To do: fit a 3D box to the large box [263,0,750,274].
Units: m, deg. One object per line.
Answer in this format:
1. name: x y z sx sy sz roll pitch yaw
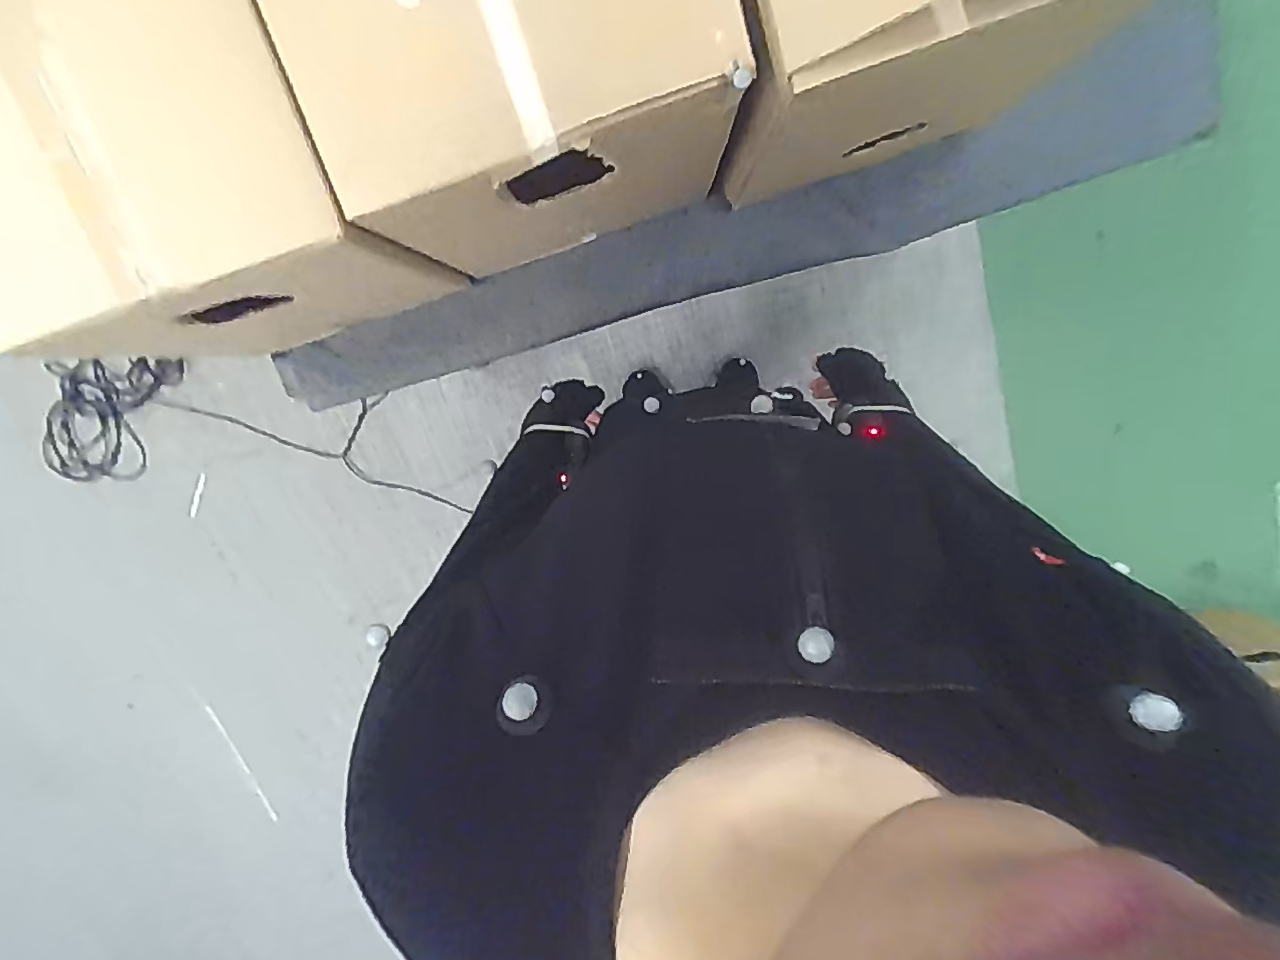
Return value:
1. large box: -0.129 -0.455 0.494 0.320 0.320 0.408 -18 102 6
